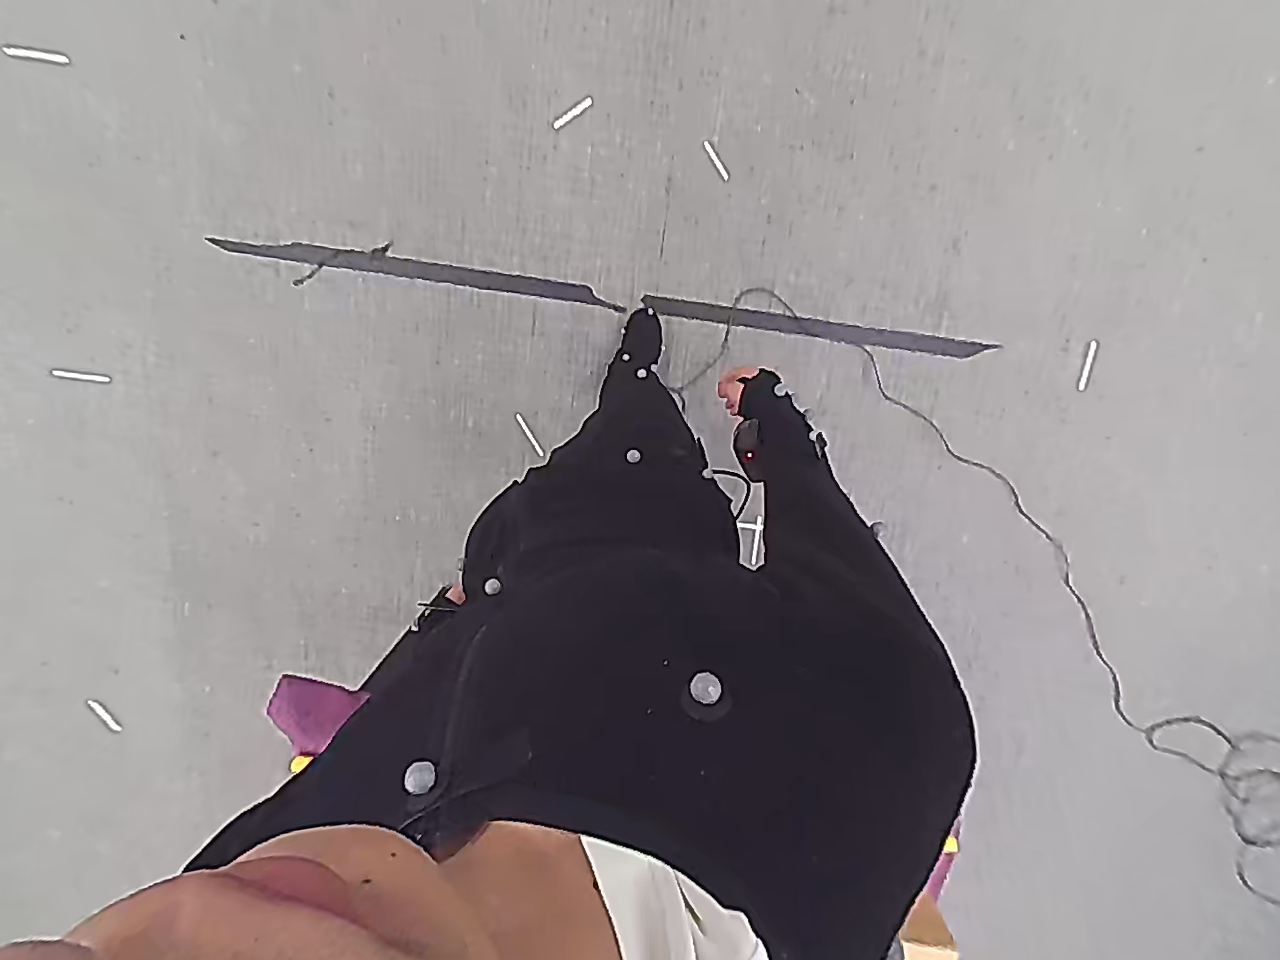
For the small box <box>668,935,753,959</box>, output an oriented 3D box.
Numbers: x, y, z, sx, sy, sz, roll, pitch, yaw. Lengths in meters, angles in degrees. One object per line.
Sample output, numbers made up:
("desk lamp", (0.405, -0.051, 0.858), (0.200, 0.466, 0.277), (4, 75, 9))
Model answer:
("small box", (0.134, 0.997, 0.994), (0.168, 0.176, 0.179), (5, 101, -2))
